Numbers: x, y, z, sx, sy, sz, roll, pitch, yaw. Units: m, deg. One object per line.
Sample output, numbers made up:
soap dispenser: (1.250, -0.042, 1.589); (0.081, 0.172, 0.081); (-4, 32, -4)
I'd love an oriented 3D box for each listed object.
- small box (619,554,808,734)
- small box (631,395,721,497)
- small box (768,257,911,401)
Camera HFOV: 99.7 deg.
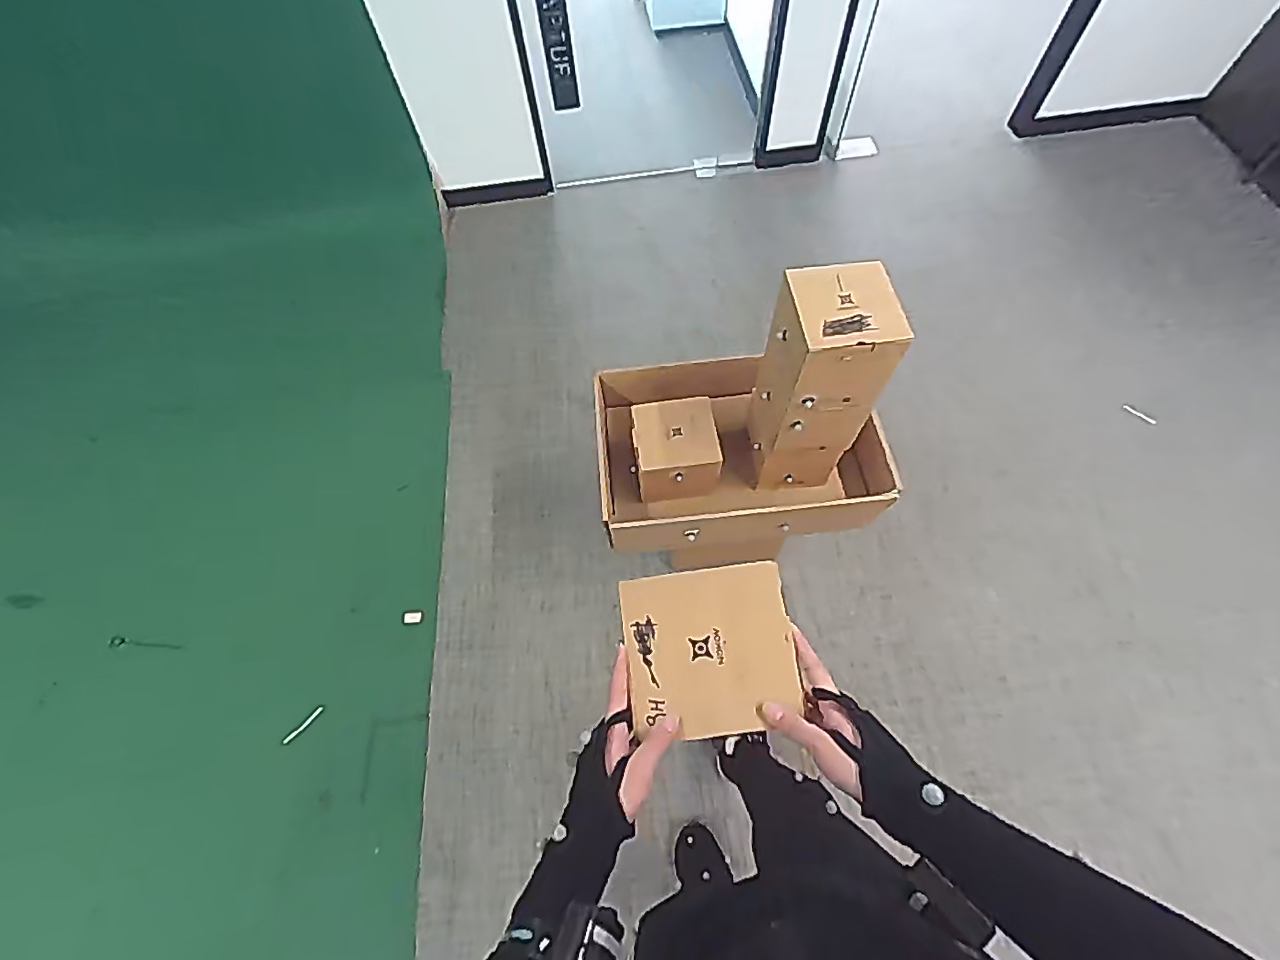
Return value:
small box: (0.074, 0.195, 0.628); (0.179, 0.176, 0.168); (-7, 65, 1)
small box: (0.077, -0.071, 1.218); (0.179, 0.176, 0.168); (-6, 63, -2)
small box: (0.329, -0.249, 0.929); (0.168, 0.176, 0.179); (-5, 62, -1)
